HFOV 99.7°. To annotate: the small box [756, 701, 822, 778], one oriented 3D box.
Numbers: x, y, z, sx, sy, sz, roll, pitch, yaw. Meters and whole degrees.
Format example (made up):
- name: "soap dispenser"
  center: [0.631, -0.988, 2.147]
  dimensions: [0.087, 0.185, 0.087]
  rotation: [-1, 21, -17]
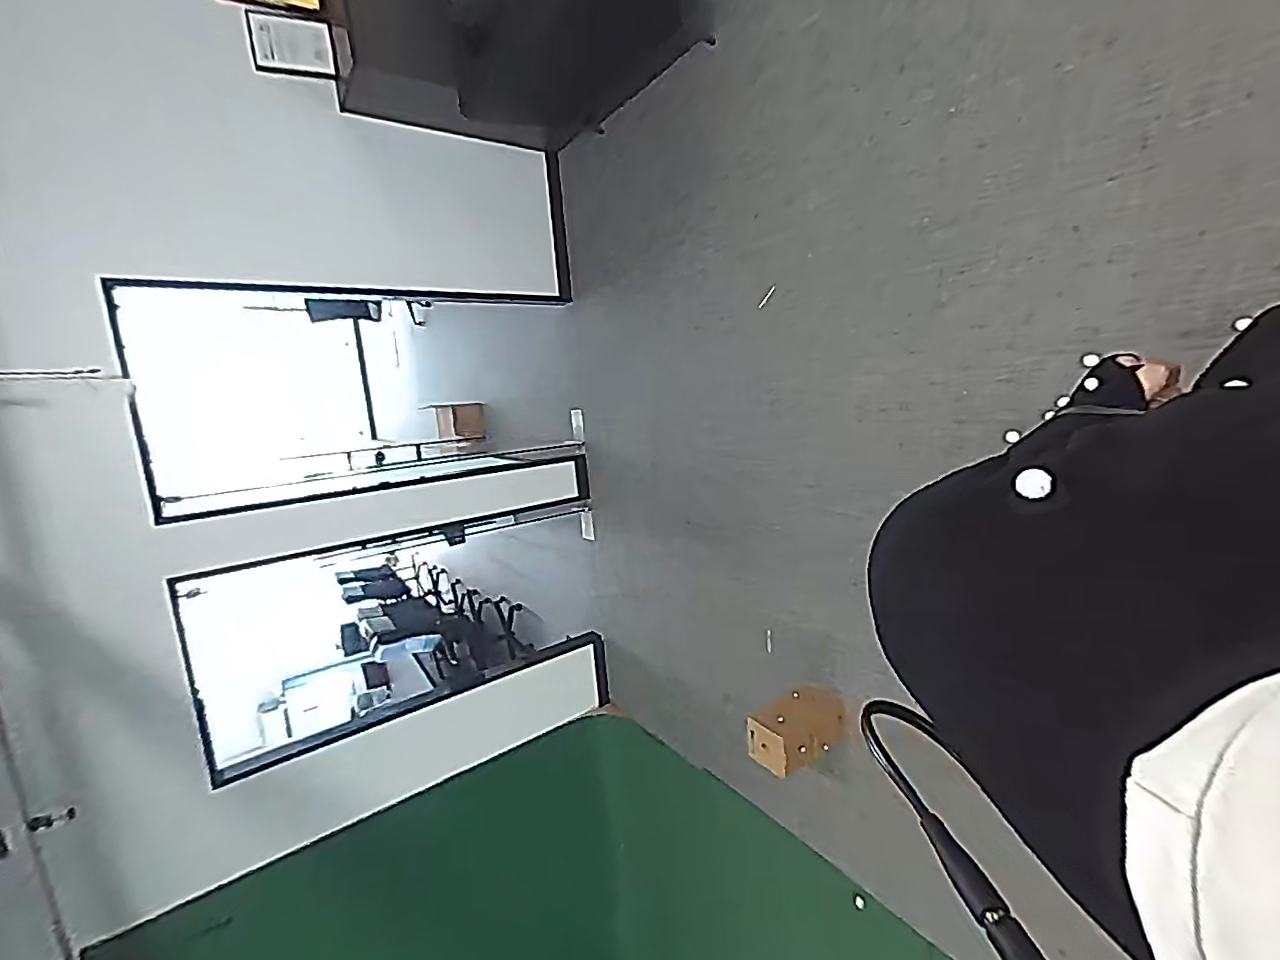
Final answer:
- name: "small box"
  center: [0.553, 0.947, 1.996]
  dimensions: [0.179, 0.176, 0.168]
  rotation: [9, 105, 54]
